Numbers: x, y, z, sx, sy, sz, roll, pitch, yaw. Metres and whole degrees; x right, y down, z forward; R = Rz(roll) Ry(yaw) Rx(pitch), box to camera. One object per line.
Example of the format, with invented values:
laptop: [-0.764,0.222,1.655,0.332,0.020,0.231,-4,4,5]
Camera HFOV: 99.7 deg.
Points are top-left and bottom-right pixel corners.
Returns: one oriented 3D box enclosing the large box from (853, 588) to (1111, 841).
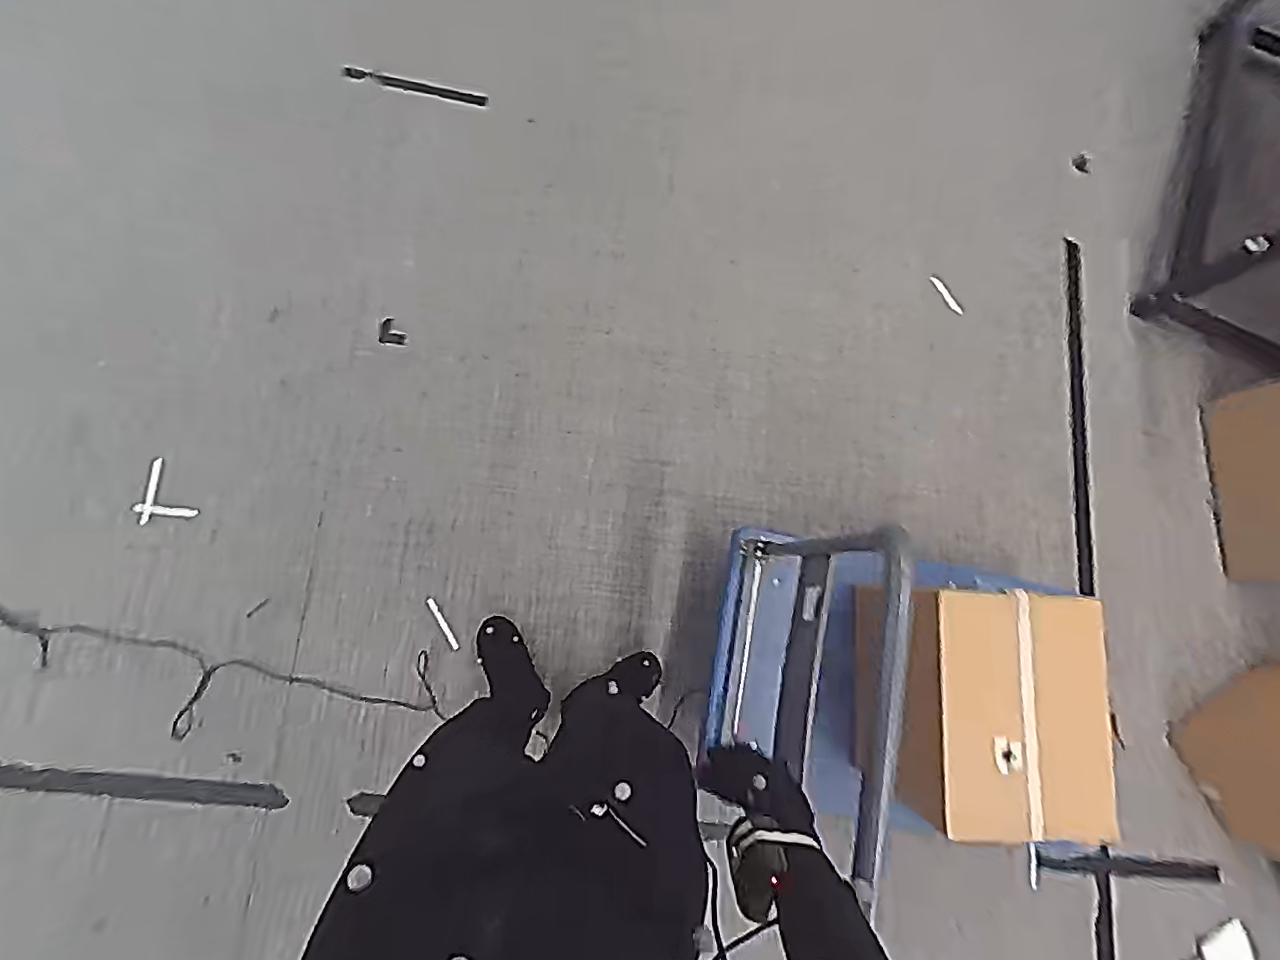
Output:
large box: [0.647,0.430,1.084,0.320,0.320,0.408,4,81,-5]
